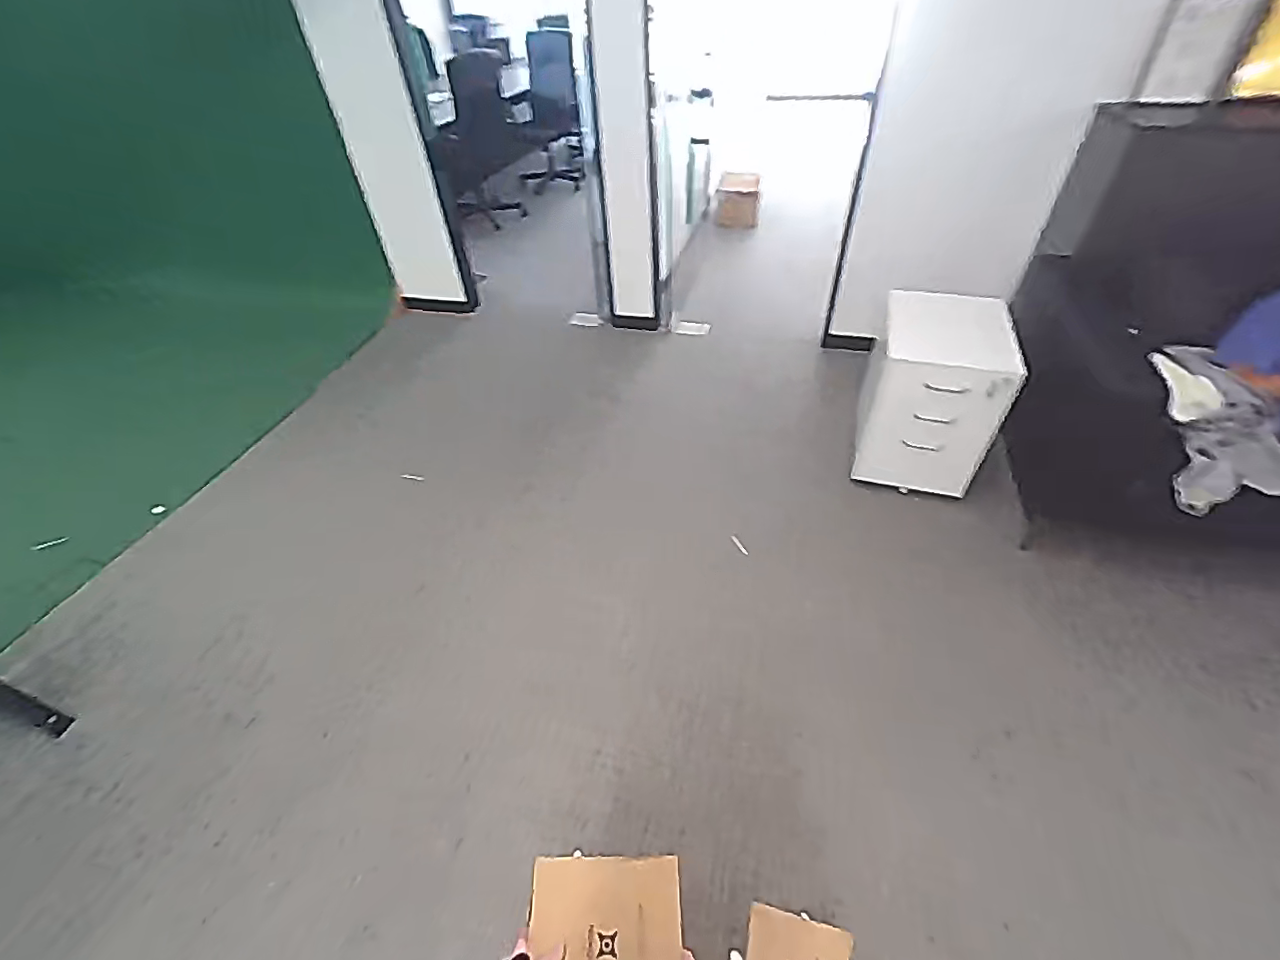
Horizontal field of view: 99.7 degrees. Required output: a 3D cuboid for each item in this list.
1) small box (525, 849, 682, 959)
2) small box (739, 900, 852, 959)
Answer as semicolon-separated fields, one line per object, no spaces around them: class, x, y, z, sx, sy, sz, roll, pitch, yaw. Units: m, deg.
small box;-0.041;0.567;0.665;0.179;0.176;0.168;-1;49;-2
small box;0.271;0.894;0.971;0.179;0.176;0.168;10;45;13
